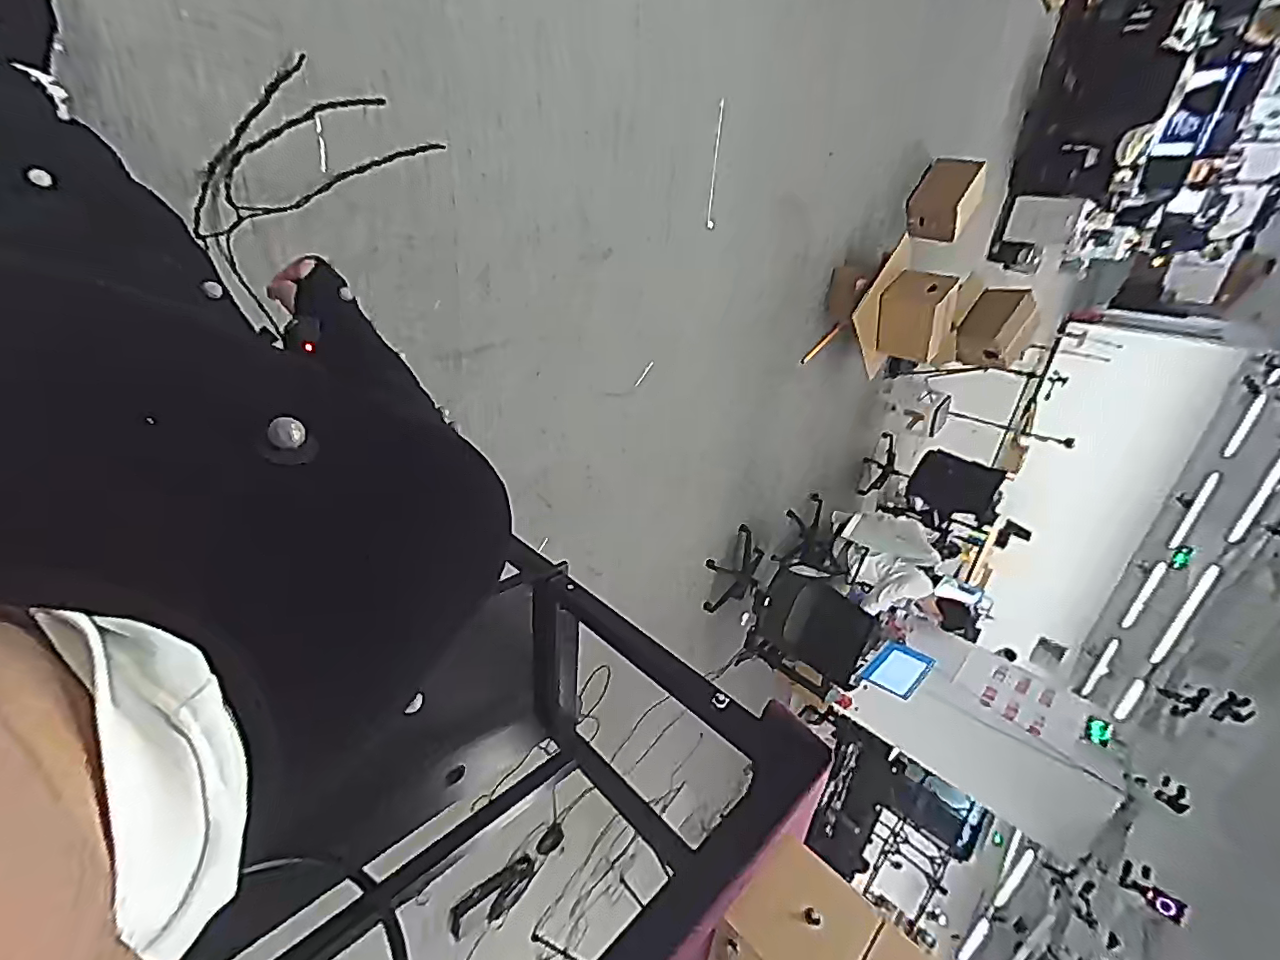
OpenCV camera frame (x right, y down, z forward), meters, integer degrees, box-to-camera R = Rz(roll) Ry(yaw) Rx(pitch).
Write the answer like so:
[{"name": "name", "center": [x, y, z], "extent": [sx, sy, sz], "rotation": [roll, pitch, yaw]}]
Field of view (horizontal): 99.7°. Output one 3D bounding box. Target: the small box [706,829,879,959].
[{"name": "small box", "center": [0.218, 0.678, 0.800], "extent": [0.179, 0.176, 0.168], "rotation": [-23, 129, -41]}]

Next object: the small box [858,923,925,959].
[{"name": "small box", "center": [0.332, 0.742, 0.700], "extent": [0.179, 0.176, 0.168], "rotation": [-21, 127, -41]}]
